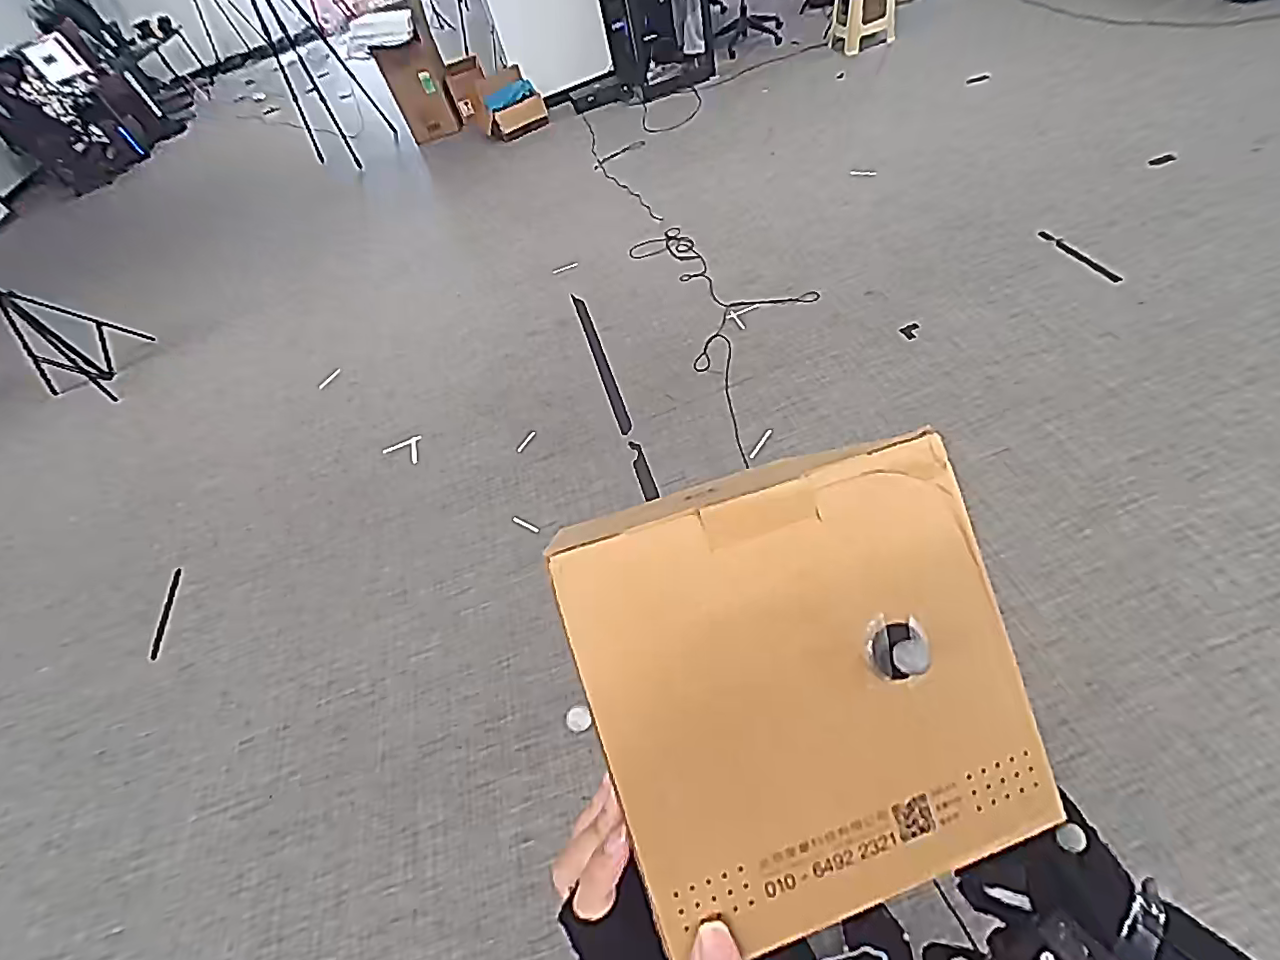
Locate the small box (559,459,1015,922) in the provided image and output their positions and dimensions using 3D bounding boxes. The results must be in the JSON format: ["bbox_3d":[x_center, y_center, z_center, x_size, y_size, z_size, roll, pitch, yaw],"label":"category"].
[{"bbox_3d":[0.061,0.098,0.307,0.168,0.179,0.176,-18,89,-6],"label":"small box"}]
